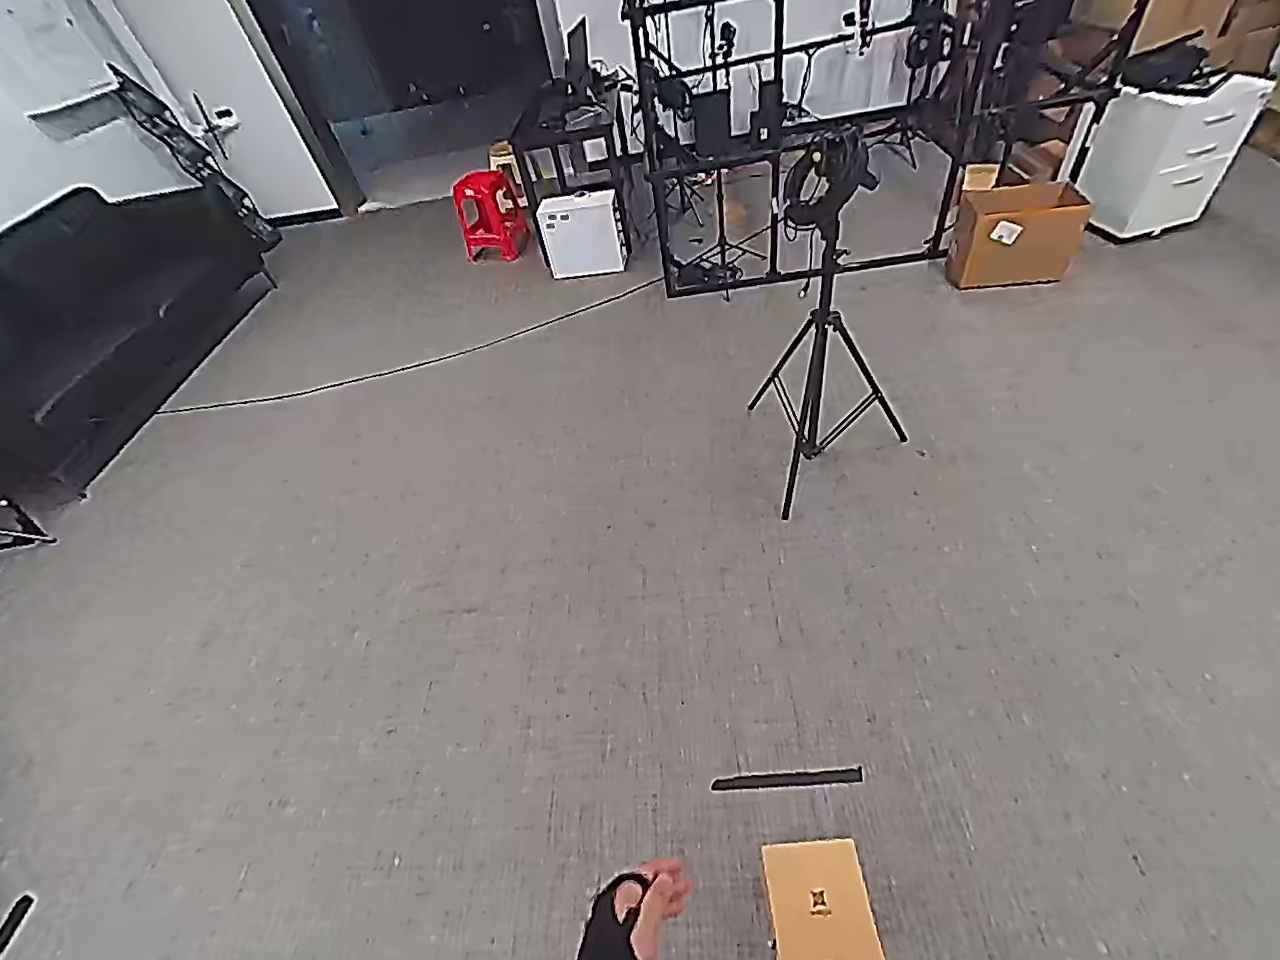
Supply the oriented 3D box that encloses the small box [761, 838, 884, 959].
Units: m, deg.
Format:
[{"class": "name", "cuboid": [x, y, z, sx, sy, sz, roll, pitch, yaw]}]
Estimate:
[{"class": "small box", "cuboid": [0.312, 0.763, 0.964, 0.168, 0.176, 0.179, -8, 47, 5]}]
